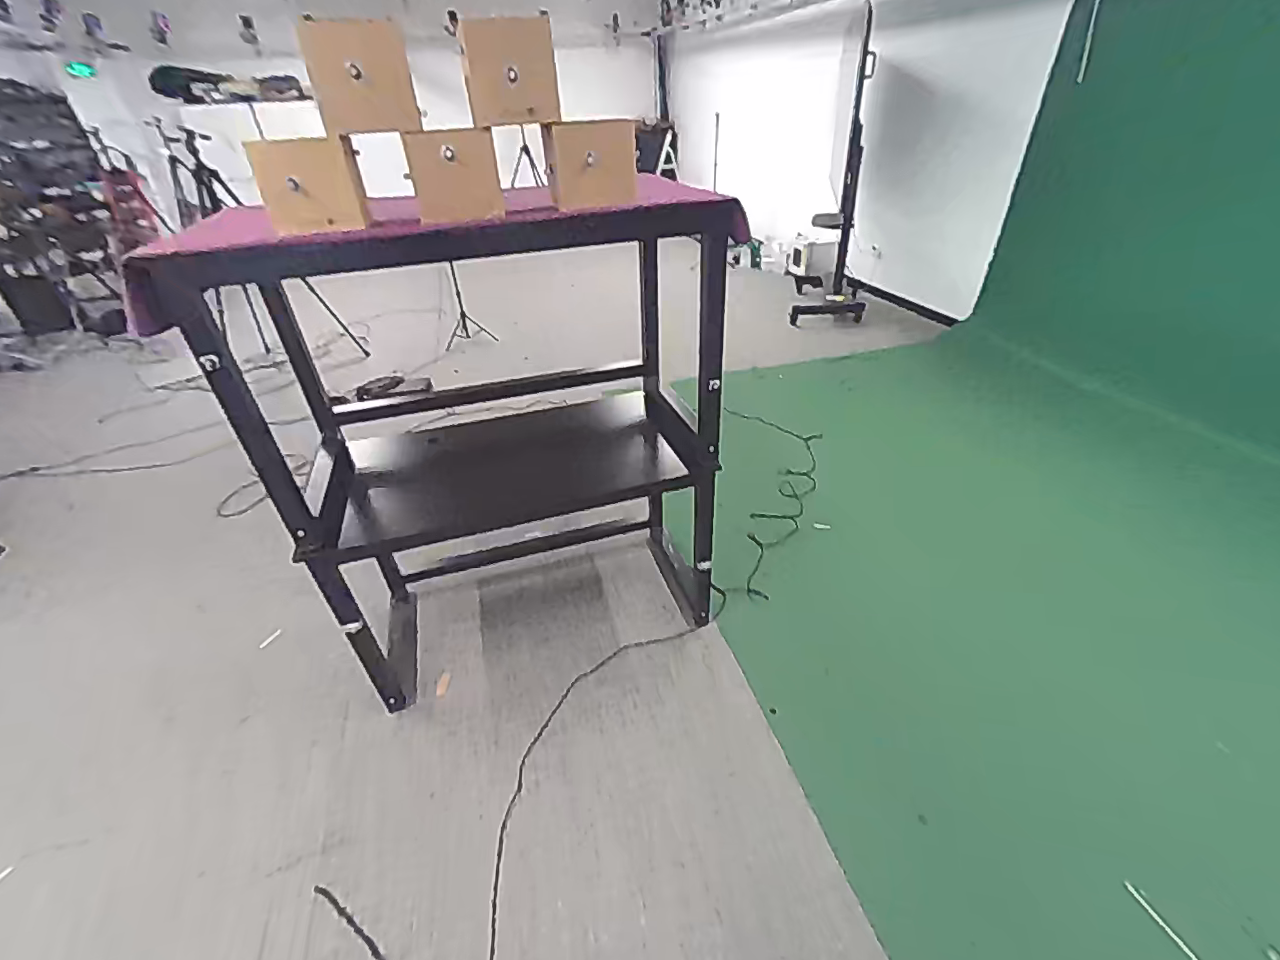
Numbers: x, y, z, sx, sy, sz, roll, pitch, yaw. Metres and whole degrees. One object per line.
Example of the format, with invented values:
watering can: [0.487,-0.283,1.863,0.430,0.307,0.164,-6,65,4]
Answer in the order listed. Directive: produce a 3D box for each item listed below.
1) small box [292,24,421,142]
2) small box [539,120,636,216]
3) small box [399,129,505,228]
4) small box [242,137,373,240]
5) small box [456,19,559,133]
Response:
small box: [-0.530,-0.759,1.042,0.179,0.176,0.168,-13,35,-14]
small box: [-0.117,-0.703,1.218,0.179,0.176,0.168,-13,37,-12]
small box: [-0.396,-0.645,1.156,0.179,0.176,0.168,-11,35,-12]
small box: [-0.657,-0.589,1.093,0.168,0.176,0.179,-12,34,-14]
small box: [-0.266,-0.809,1.094,0.168,0.176,0.179,-13,35,-13]
